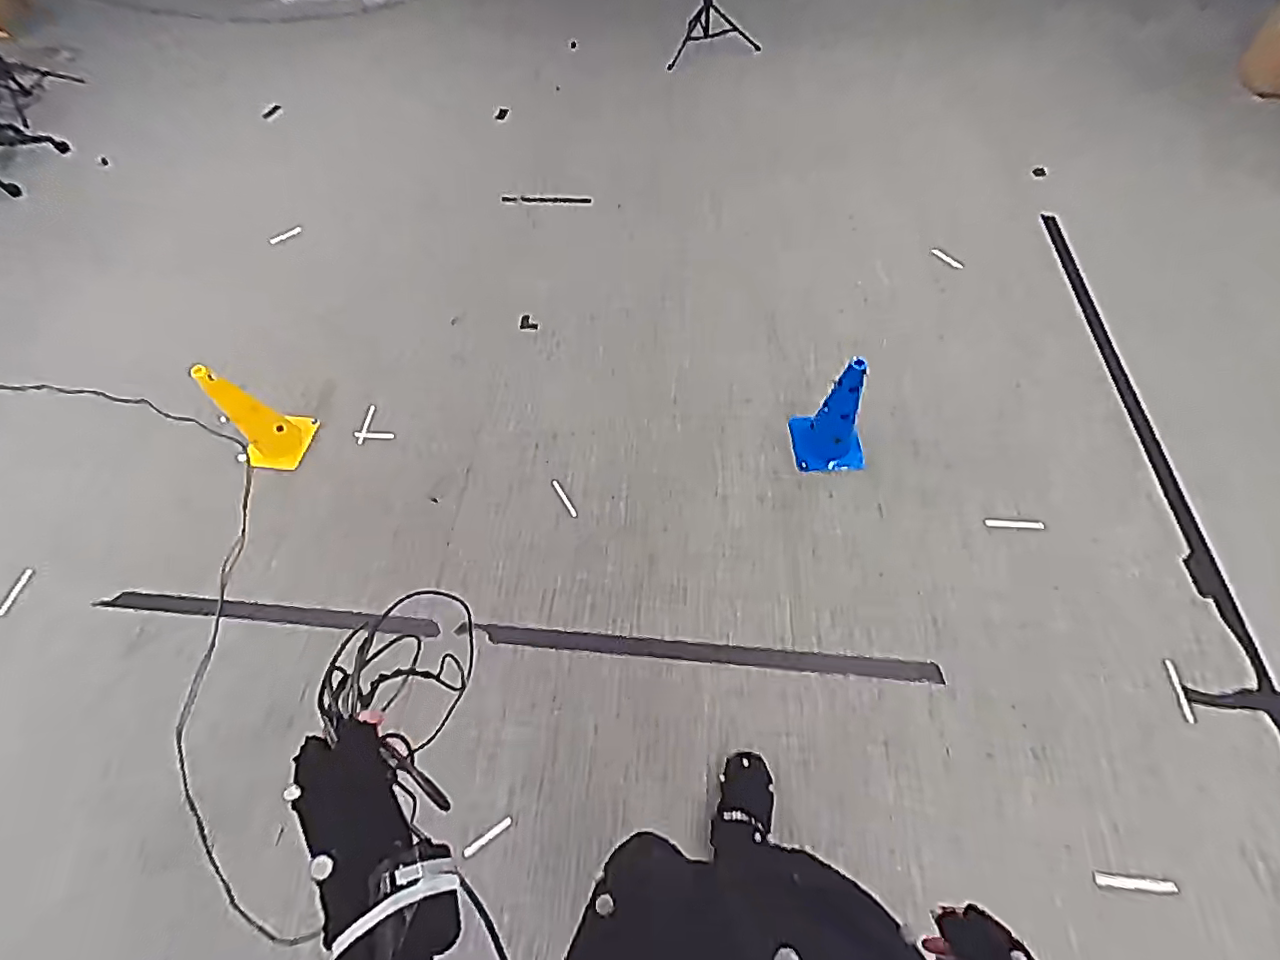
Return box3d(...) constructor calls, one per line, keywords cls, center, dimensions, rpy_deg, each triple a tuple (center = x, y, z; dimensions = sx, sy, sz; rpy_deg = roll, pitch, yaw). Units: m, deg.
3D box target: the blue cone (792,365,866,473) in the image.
box3d(cls="blue cone", center=(0.549, -0.186, 1.491), dimensions=(0.193, 0.380, 0.192), rpy_deg=(-2, 61, 3))
